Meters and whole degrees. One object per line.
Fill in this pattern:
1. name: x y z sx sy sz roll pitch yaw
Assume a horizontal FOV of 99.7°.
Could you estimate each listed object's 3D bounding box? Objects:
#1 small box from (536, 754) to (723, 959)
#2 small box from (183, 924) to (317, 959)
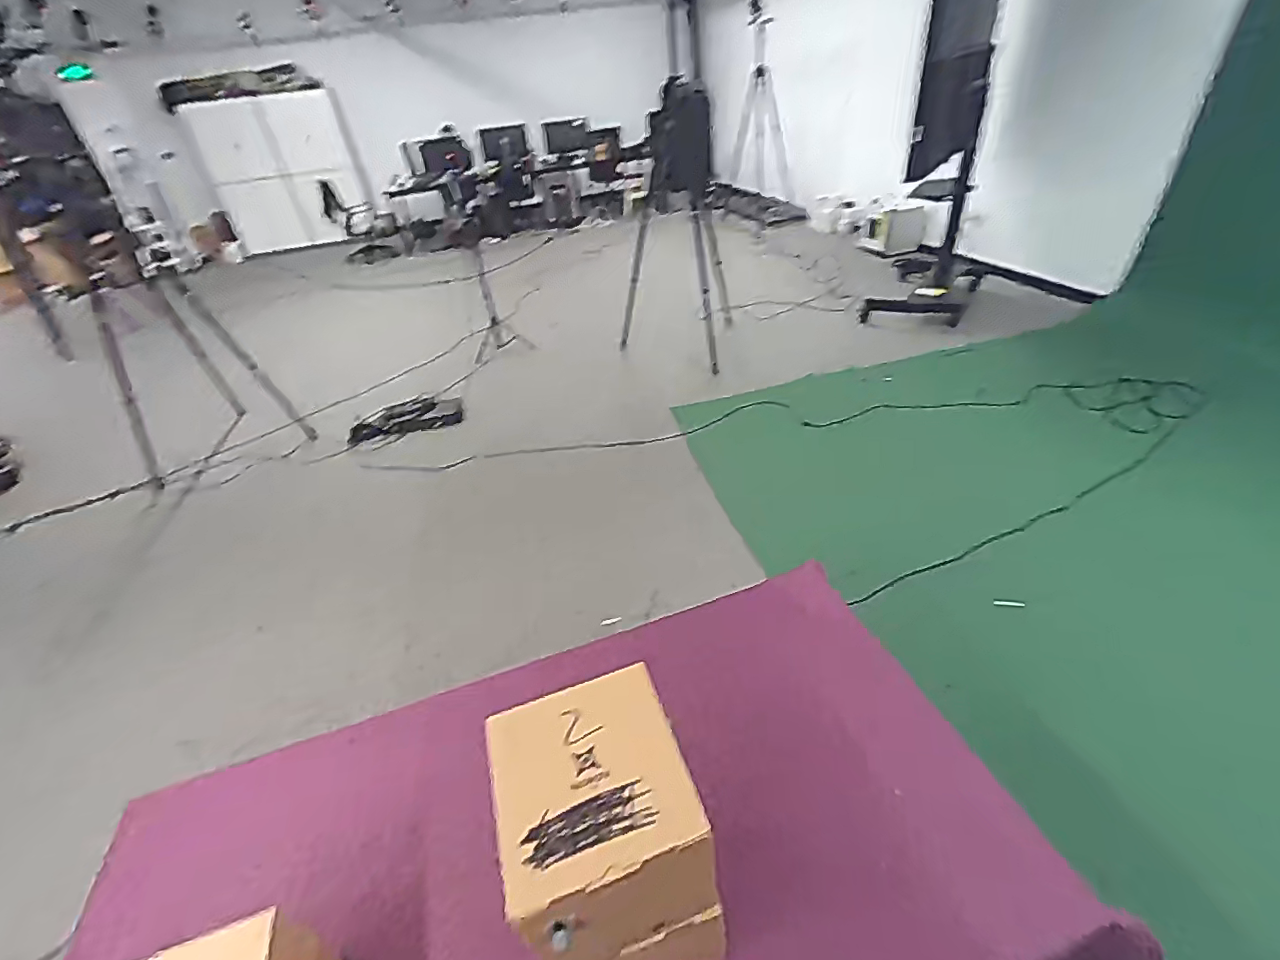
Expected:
1. small box: -0.013 0.461 0.620 0.168 0.176 0.179 -16 37 -9
2. small box: -0.416 0.590 0.523 0.168 0.176 0.179 -17 36 -12
